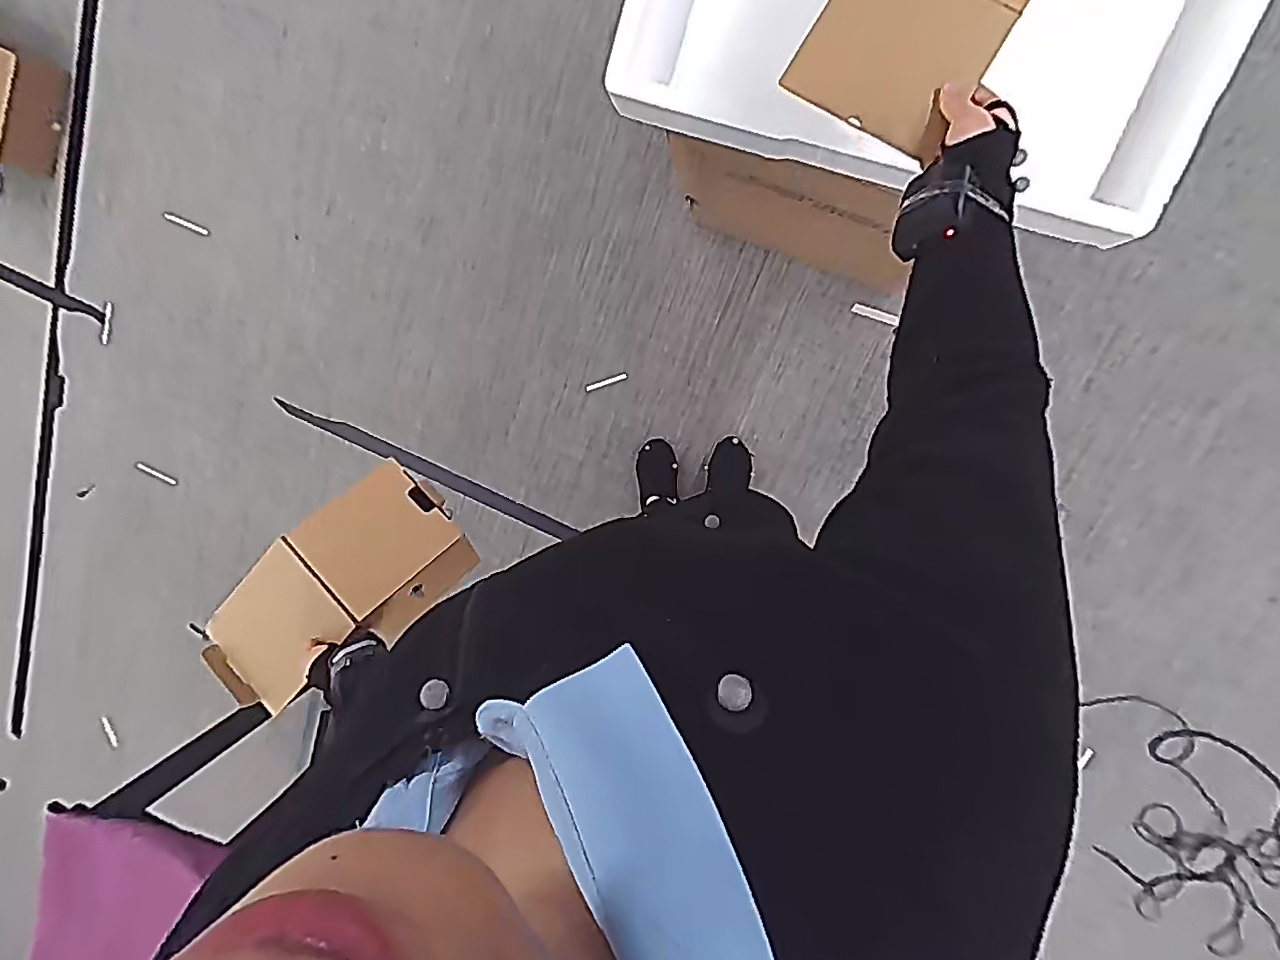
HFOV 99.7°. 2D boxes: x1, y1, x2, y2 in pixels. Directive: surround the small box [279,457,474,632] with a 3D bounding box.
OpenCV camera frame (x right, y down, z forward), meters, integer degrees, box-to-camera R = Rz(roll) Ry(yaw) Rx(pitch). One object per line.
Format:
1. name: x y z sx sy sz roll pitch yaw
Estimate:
1. small box: -0.370 0.104 0.798 0.168 0.176 0.179 45 69 9
